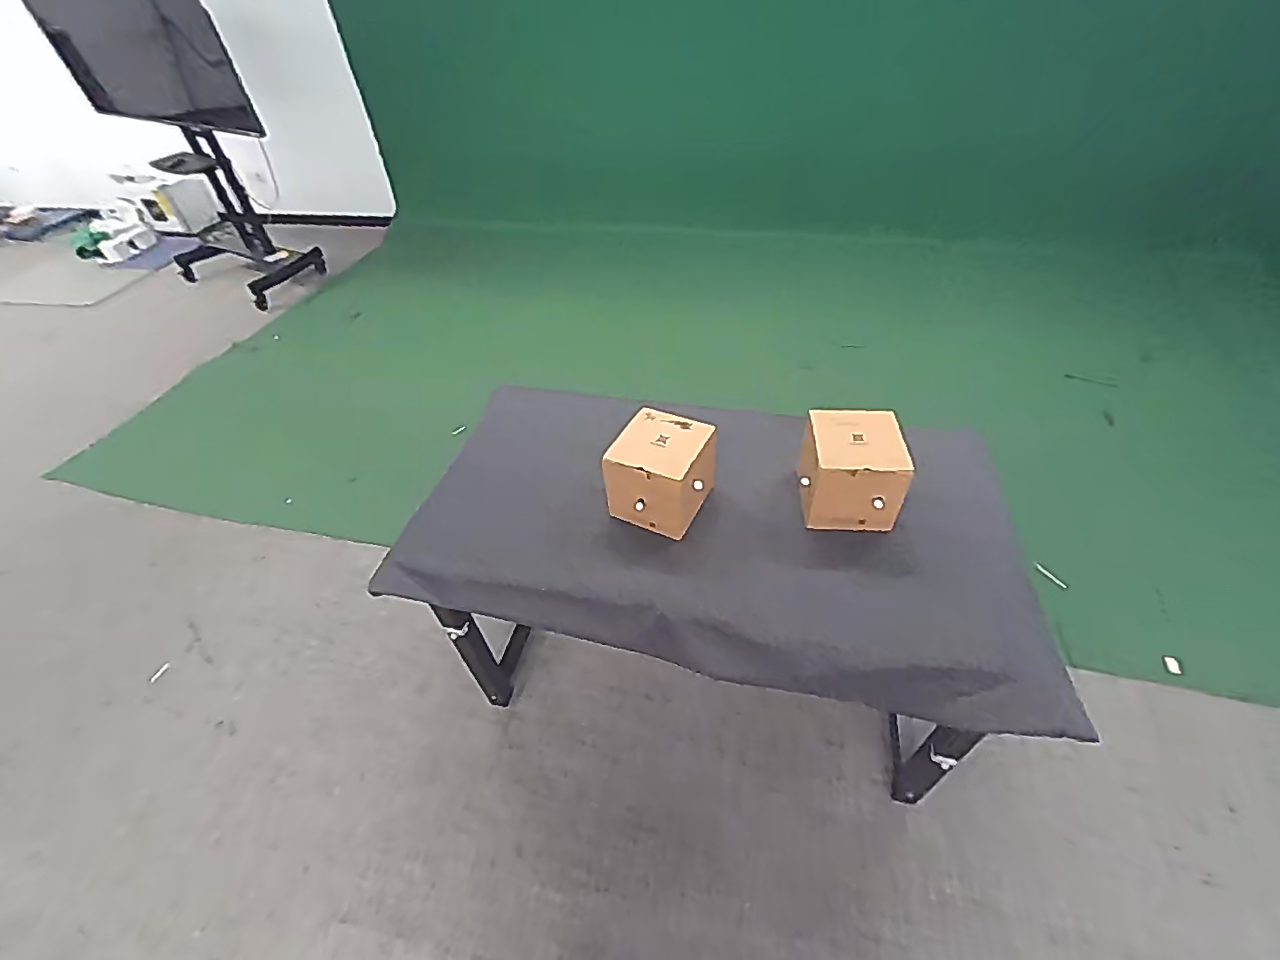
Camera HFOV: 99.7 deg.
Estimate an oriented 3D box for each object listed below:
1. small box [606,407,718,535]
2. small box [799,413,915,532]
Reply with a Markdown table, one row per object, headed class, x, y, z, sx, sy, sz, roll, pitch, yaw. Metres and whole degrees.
| class | x | y | z | sx | sy | sz | roll | pitch | yaw |
| --- | --- | --- | --- | --- | --- | --- | --- | --- | --- |
| small box | 0.050 | -0.016 | 1.106 | 0.168 | 0.176 | 0.179 | 20 | 49 | 21 |
| small box | 0.421 | -0.013 | 1.081 | 0.168 | 0.176 | 0.179 | 3 | 44 | 5 |
